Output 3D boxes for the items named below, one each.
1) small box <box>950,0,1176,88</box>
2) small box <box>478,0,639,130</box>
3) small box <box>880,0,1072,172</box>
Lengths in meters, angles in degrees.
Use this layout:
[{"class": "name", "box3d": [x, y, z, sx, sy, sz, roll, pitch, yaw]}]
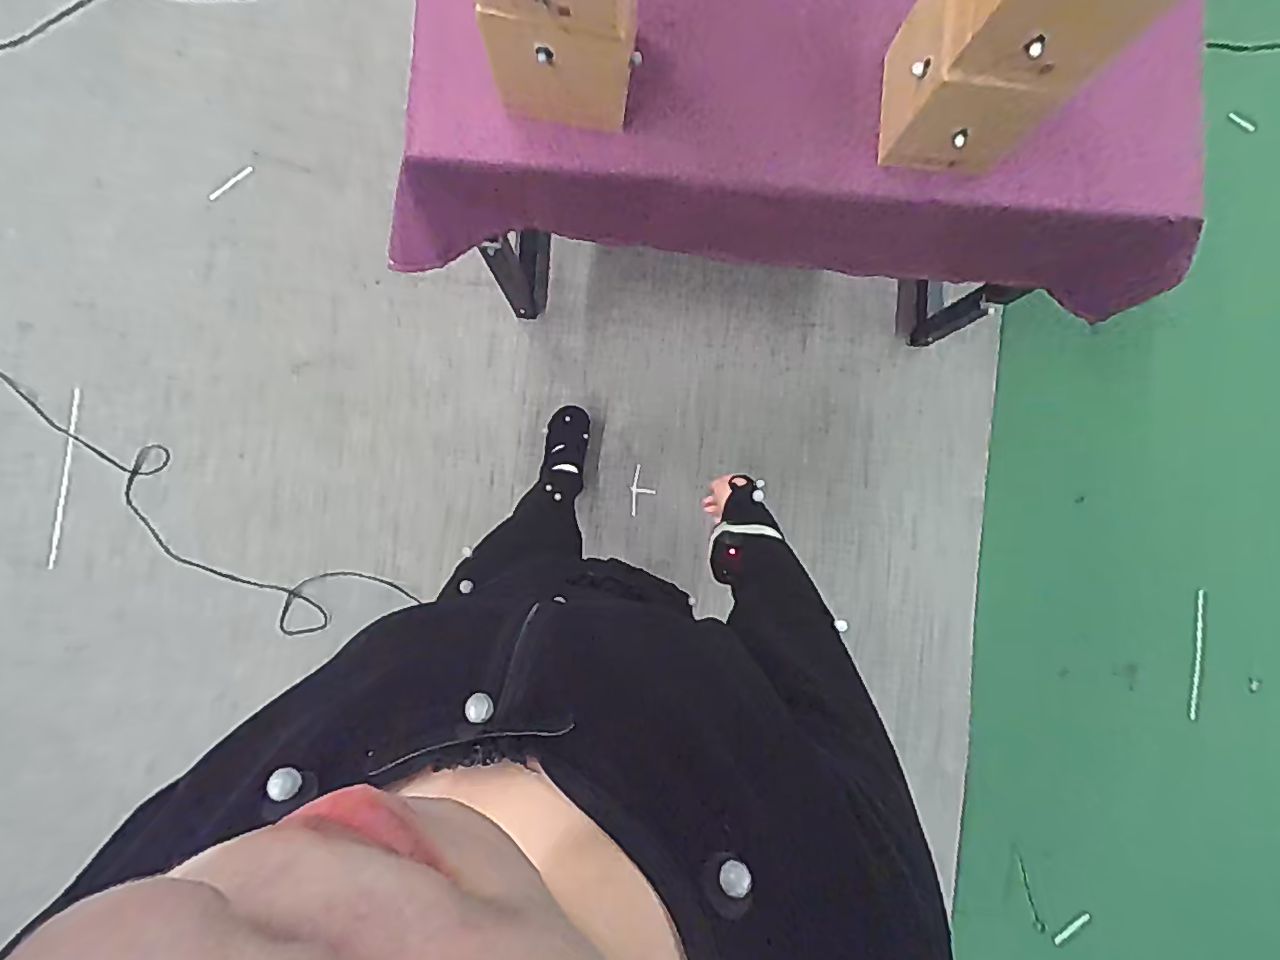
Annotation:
[{"class": "small box", "box3d": [0.460, -0.568, 0.574, 0.168, 0.176, 0.179, 5, 88, -2]}, {"class": "small box", "box3d": [-0.097, -0.604, 0.716, 0.179, 0.176, 0.168, 8, 87, -3]}, {"class": "small box", "box3d": [0.447, -0.554, 0.736, 0.168, 0.176, 0.179, 5, 87, -2]}]
